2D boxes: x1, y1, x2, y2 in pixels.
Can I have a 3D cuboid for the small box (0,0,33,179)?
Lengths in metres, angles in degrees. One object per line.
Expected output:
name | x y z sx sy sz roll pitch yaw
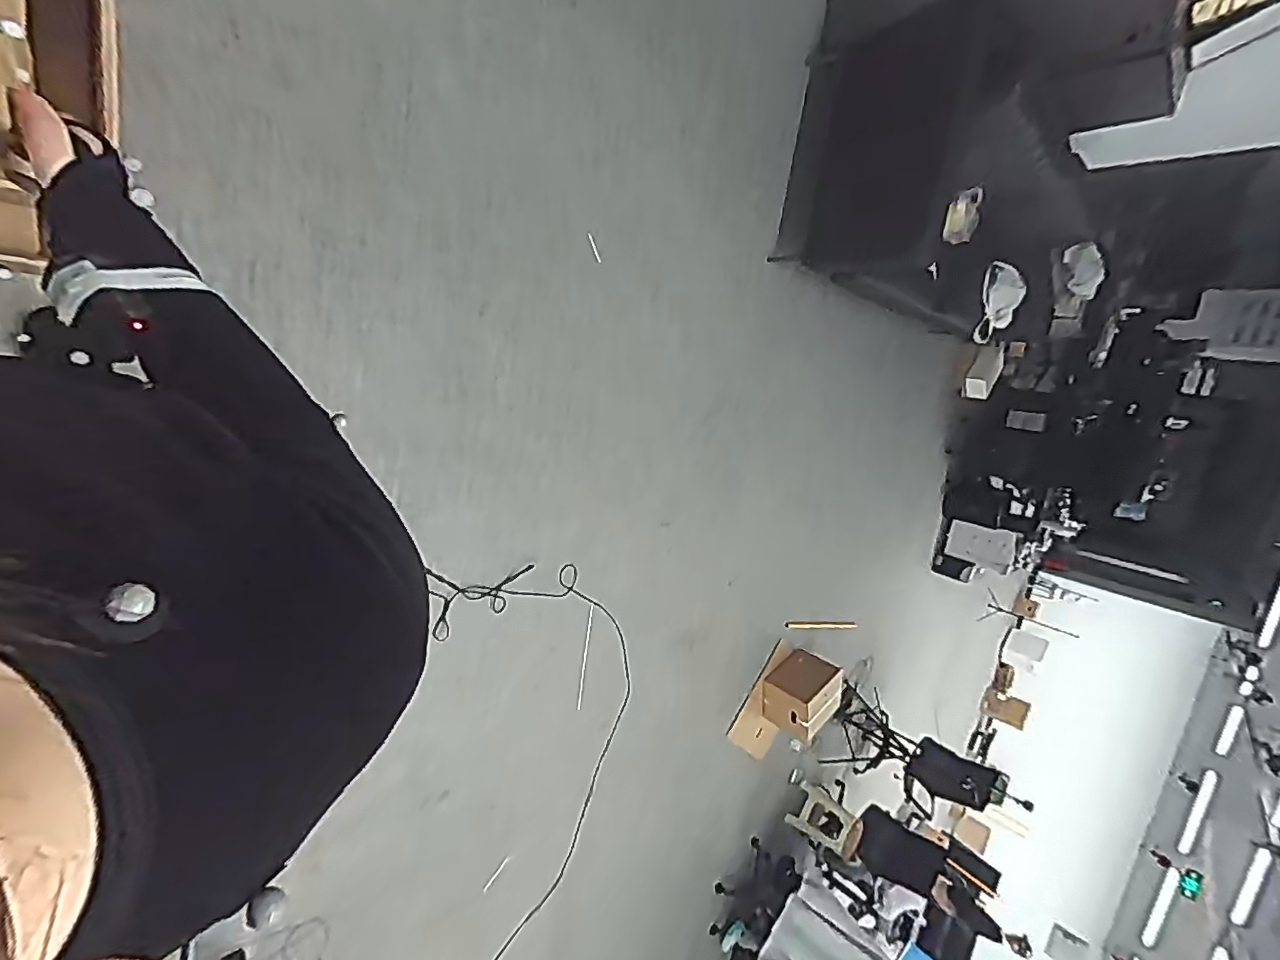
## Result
small box | -0.613 -0.357 0.422 0.168 0.176 0.179 -5 109 -43

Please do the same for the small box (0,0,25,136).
small box | -0.501 -0.315 0.306 0.179 0.176 0.168 -8 115 -43
